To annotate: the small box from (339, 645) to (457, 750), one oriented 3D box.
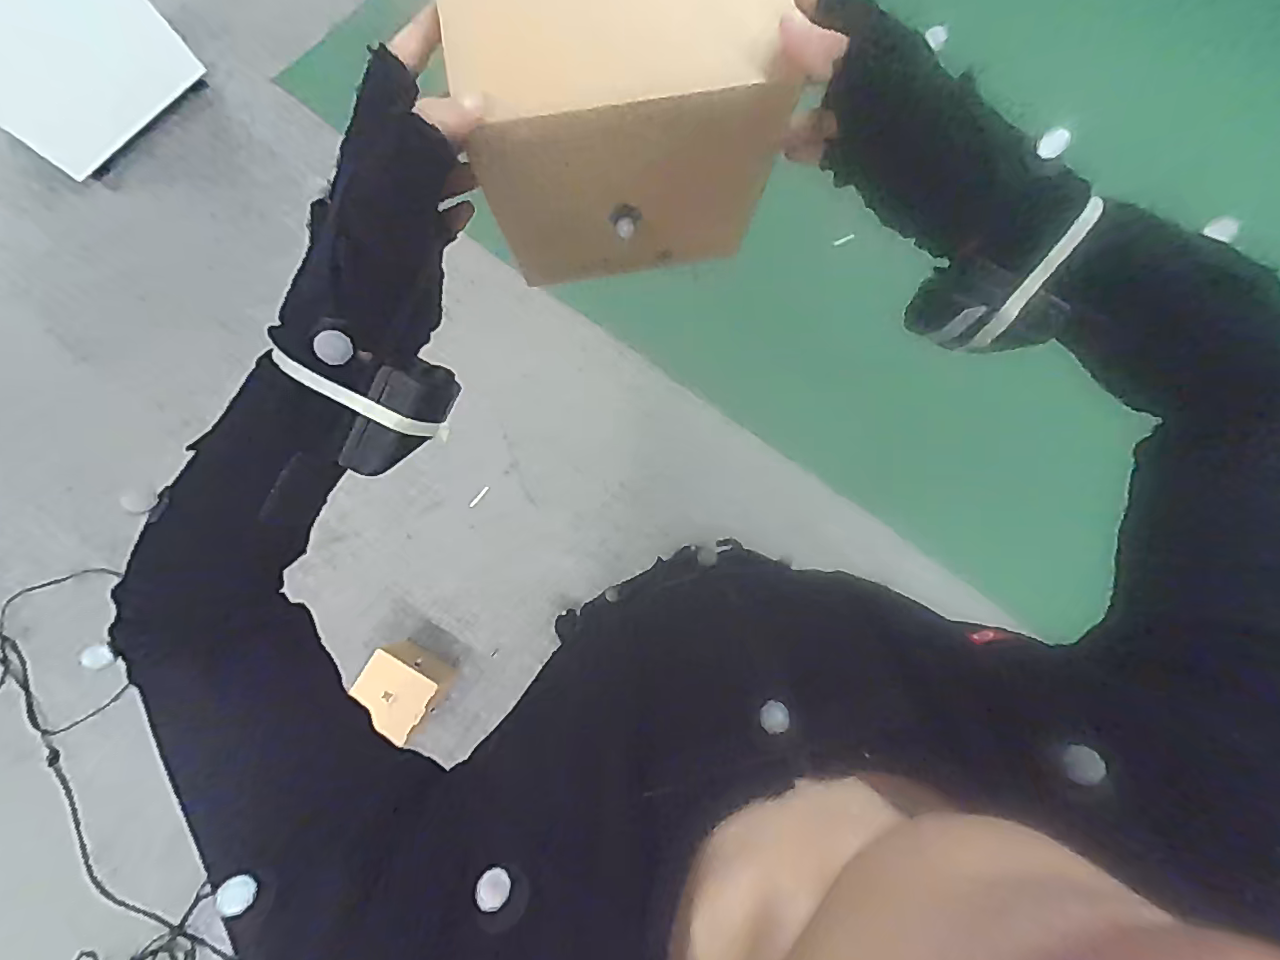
[{"bbox_3d":[-0.587,0.525,1.336,0.179,0.176,0.168,30,81,2],"label":"small box"}]
